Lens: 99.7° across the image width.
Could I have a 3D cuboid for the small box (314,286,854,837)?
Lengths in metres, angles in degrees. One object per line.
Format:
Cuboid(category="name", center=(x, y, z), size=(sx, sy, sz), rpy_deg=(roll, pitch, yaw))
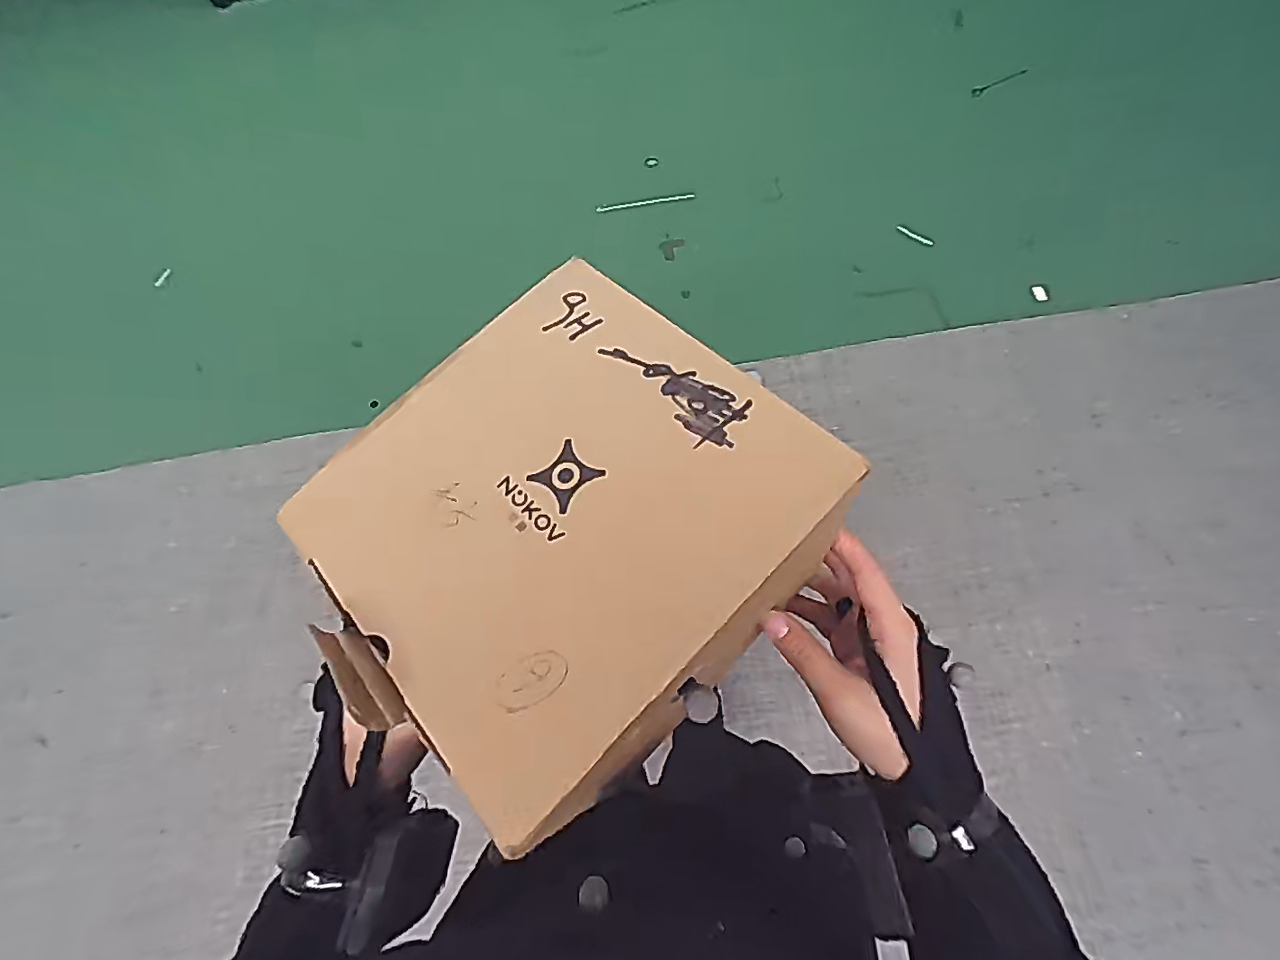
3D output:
Cuboid(category="small box", center=(-0.017, 0.043, 0.294), size=(0.179, 0.176, 0.168), rpy_deg=(-45, 67, -10))
